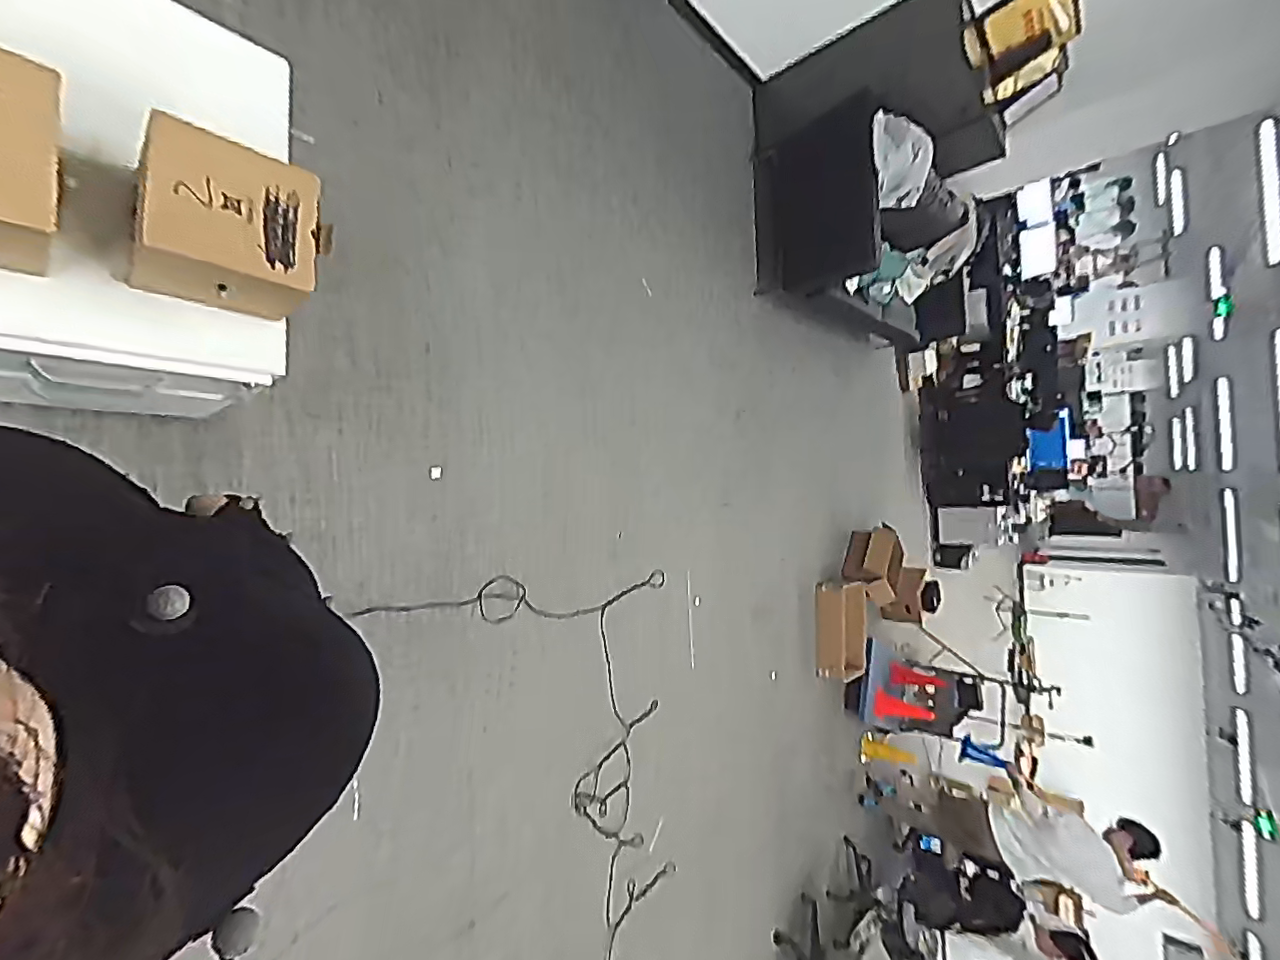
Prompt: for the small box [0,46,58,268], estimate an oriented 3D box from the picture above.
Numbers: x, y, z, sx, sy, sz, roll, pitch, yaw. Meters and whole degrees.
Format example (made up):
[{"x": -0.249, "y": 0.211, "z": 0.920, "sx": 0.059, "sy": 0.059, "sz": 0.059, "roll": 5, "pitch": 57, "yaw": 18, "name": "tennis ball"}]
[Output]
[{"x": -0.715, "y": -0.337, "z": 0.542, "sx": 0.168, "sy": 0.176, "sz": 0.179, "roll": 3, "pitch": 85, "yaw": -51, "name": "small box"}]
